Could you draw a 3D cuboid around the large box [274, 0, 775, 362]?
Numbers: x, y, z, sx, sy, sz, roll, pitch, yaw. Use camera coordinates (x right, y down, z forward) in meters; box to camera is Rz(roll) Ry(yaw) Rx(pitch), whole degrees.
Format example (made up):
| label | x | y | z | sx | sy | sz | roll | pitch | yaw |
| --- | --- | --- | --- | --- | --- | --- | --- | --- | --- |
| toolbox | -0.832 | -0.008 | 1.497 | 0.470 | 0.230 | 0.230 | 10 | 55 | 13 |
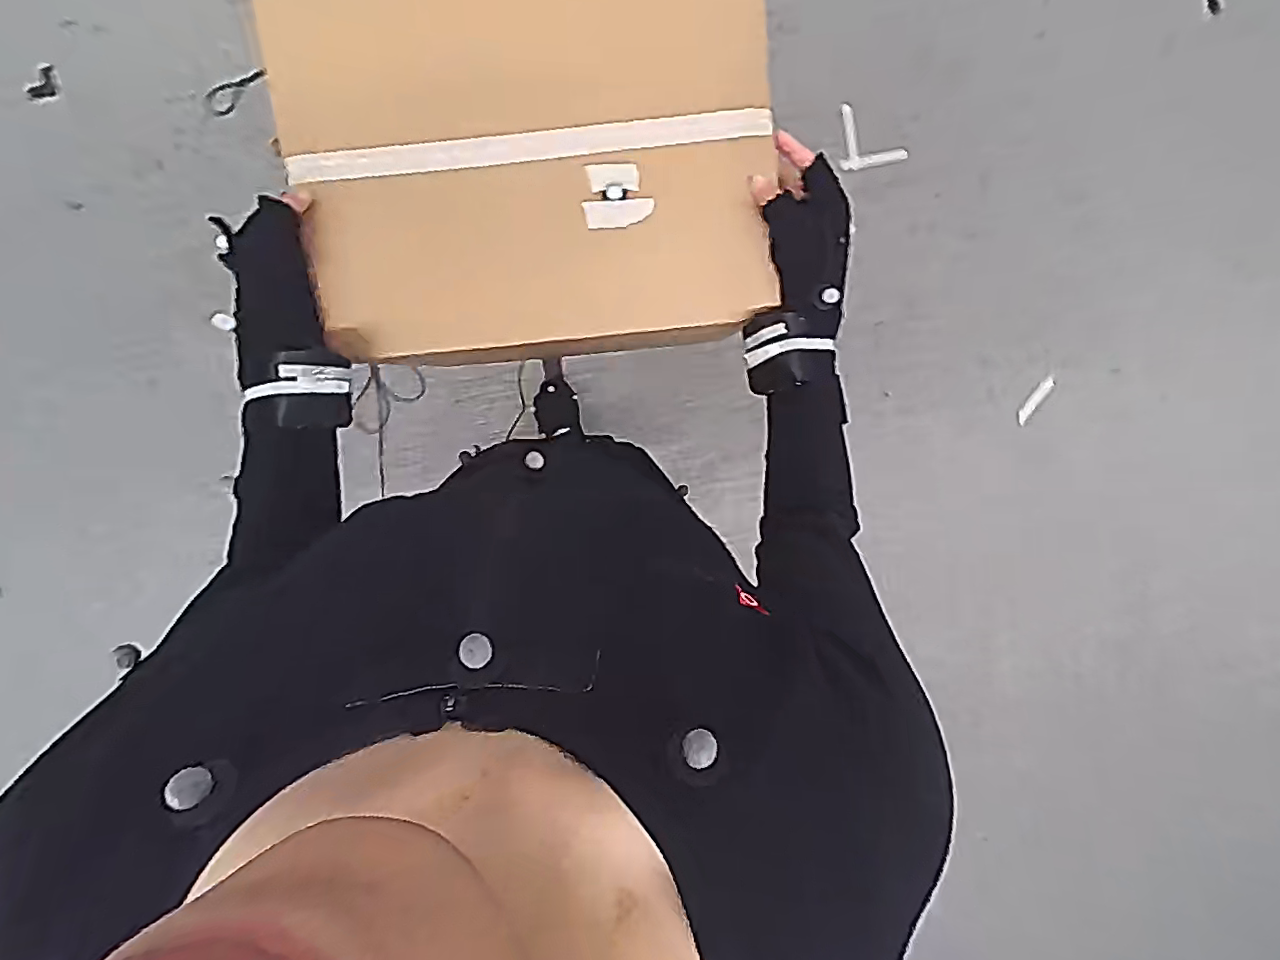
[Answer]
| label | x | y | z | sx | sy | sz | roll | pitch | yaw |
| --- | --- | --- | --- | --- | --- | --- | --- | --- | --- |
| large box | -0.095 | -0.317 | 0.615 | 0.408 | 0.320 | 0.320 | -6 | 102 | -1 |
